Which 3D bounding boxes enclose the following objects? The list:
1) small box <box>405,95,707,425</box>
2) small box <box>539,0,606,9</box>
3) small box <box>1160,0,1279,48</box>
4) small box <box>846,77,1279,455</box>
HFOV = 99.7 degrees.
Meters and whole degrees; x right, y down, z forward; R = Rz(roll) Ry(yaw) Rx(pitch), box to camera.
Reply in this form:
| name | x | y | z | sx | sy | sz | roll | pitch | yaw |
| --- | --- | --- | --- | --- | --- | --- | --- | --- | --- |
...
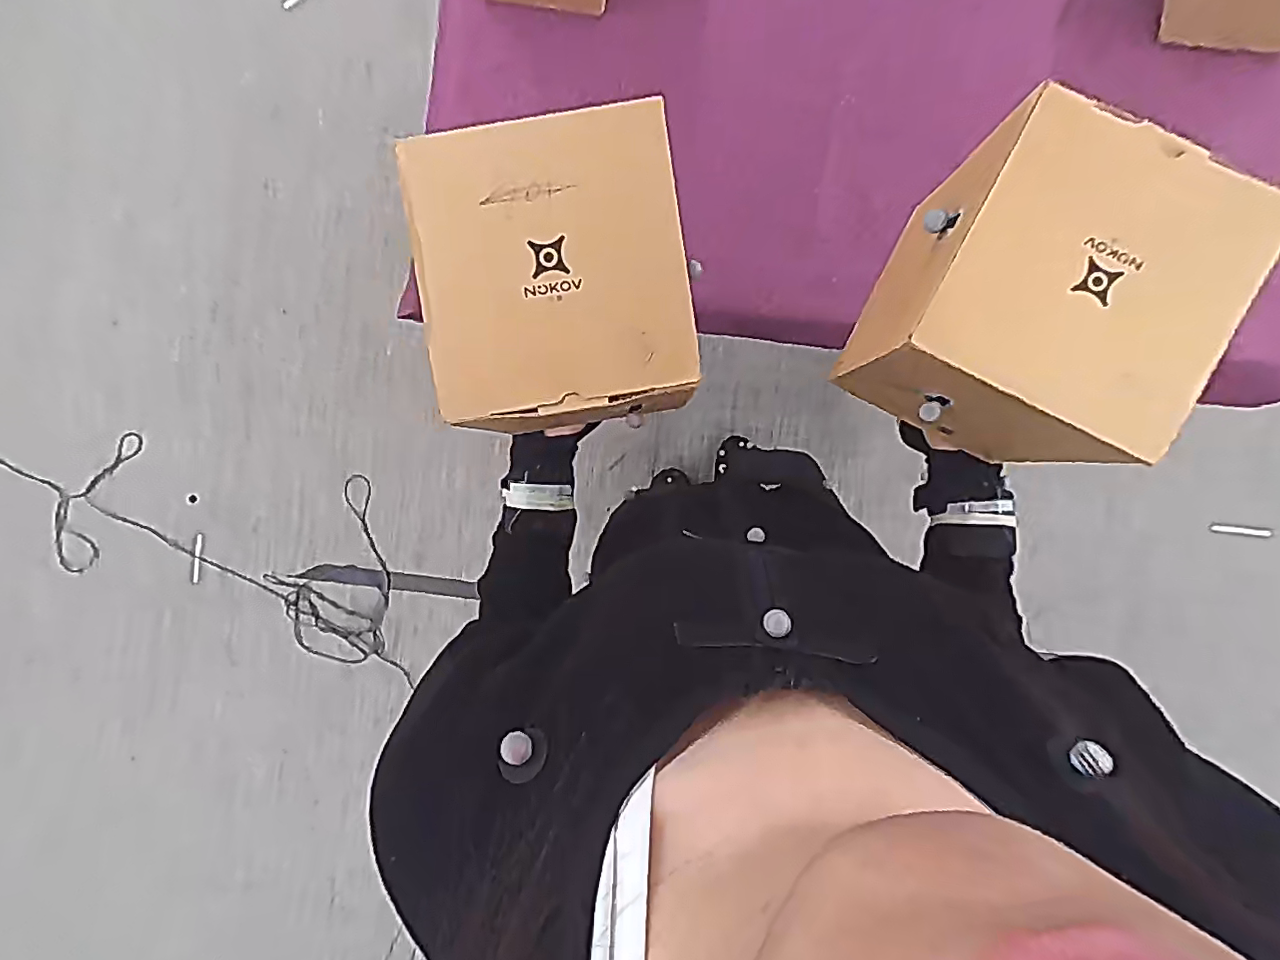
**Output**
| name | x | y | z | sx | sy | sz | roll | pitch | yaw |
| --- | --- | --- | --- | --- | --- | --- | --- | --- | --- |
| small box | -0.049 | -0.138 | 0.410 | 0.168 | 0.176 | 0.179 | -9 | 92 | 0 |
| small box | -0.126 | -0.742 | 0.674 | 0.179 | 0.176 | 0.168 | 8 | 93 | 0 |
| small box | 0.794 | -0.668 | 0.652 | 0.179 | 0.176 | 0.168 | 7 | 92 | 1 |
| small box | 0.278 | -0.128 | 0.400 | 0.168 | 0.176 | 0.179 | 27 | 92 | 2 |
